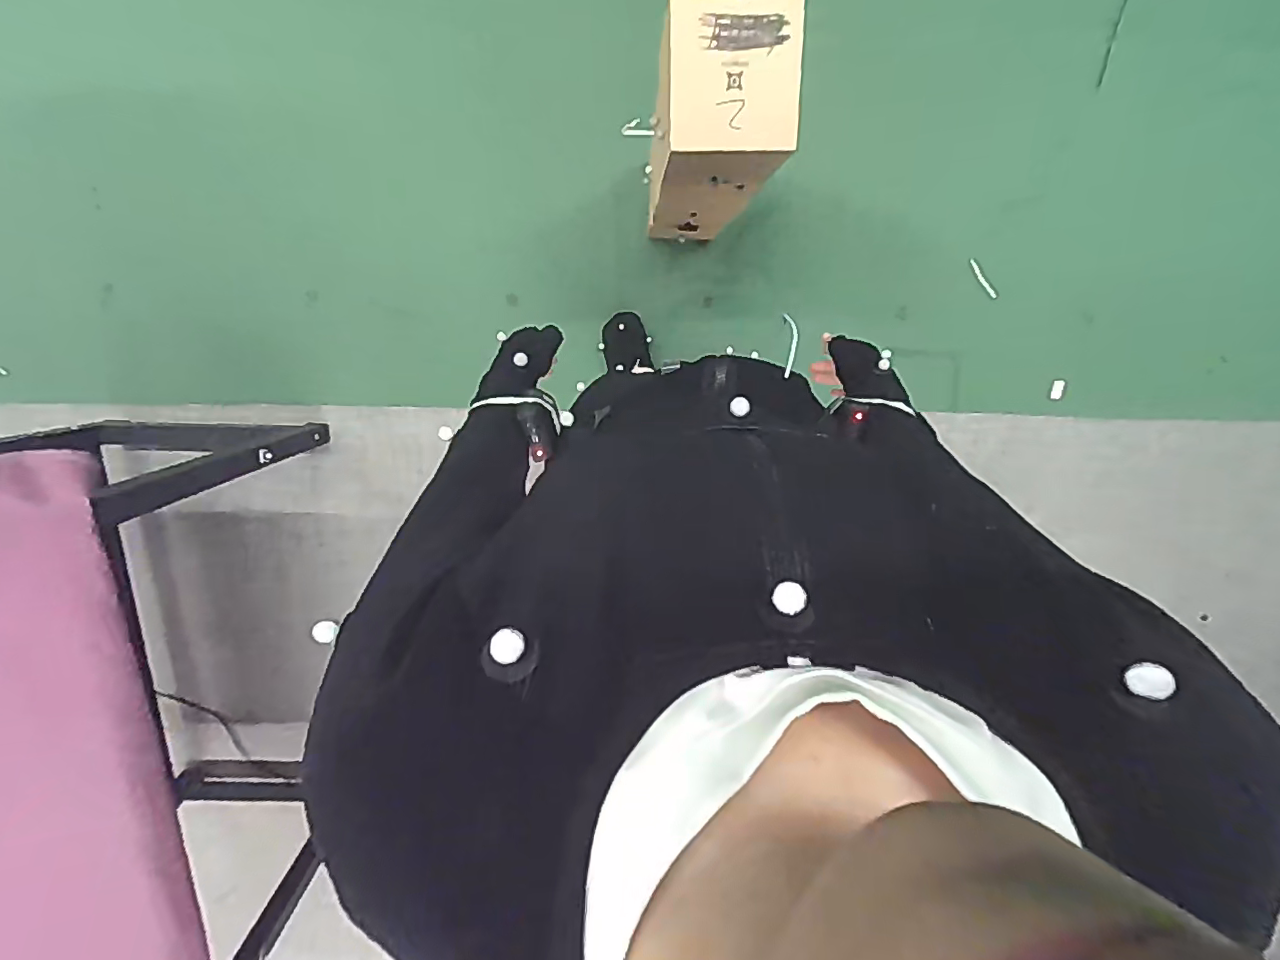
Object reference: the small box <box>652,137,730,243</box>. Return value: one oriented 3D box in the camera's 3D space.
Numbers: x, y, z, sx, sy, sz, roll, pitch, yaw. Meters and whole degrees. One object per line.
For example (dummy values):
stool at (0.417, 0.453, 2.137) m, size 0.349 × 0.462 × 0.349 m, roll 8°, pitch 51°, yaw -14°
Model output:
small box at (0.114, -0.649, 1.224) m, size 0.168 × 0.176 × 0.179 m, roll 1°, pitch 105°, yaw -1°

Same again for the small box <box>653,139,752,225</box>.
small box at (0.123, -0.610, 1.063) m, size 0.179 × 0.176 × 0.168 m, roll 3°, pitch 103°, yaw -2°

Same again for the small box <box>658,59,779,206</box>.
small box at (0.121, -0.570, 0.908) m, size 0.179 × 0.176 × 0.168 m, roll 0°, pitch 104°, yaw -2°
